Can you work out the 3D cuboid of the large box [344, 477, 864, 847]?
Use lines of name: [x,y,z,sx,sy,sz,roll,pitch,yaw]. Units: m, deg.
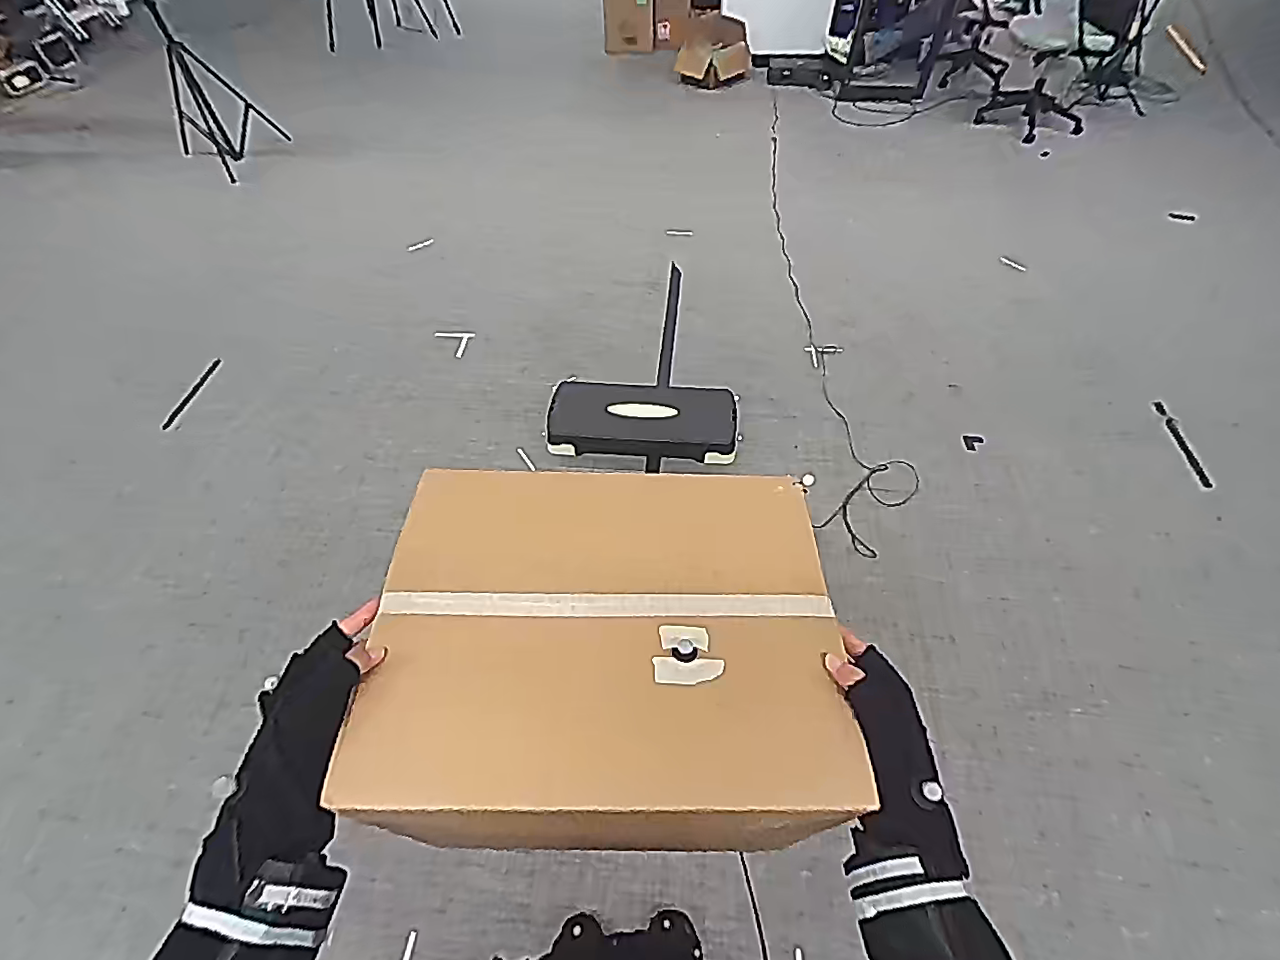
large box: [-0.032,0.212,0.614,0.408,0.320,0.320,1,51,-1]
